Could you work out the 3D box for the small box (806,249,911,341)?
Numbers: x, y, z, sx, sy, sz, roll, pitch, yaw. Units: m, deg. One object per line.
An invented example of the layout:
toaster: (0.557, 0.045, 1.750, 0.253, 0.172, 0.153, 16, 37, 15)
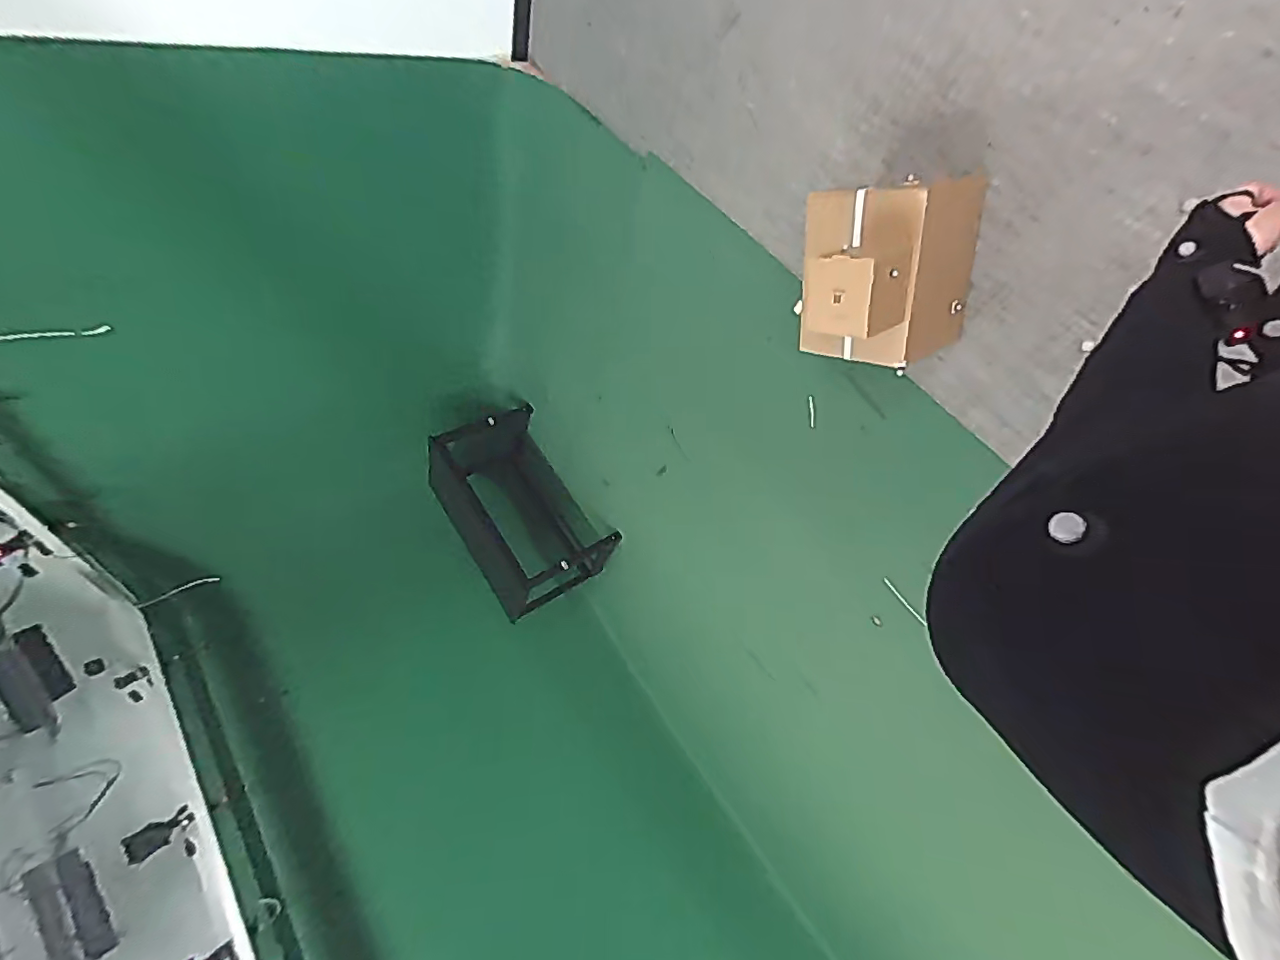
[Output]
small box: (0.516, -0.444, 1.279, 0.168, 0.176, 0.179, 26, 132, 44)
